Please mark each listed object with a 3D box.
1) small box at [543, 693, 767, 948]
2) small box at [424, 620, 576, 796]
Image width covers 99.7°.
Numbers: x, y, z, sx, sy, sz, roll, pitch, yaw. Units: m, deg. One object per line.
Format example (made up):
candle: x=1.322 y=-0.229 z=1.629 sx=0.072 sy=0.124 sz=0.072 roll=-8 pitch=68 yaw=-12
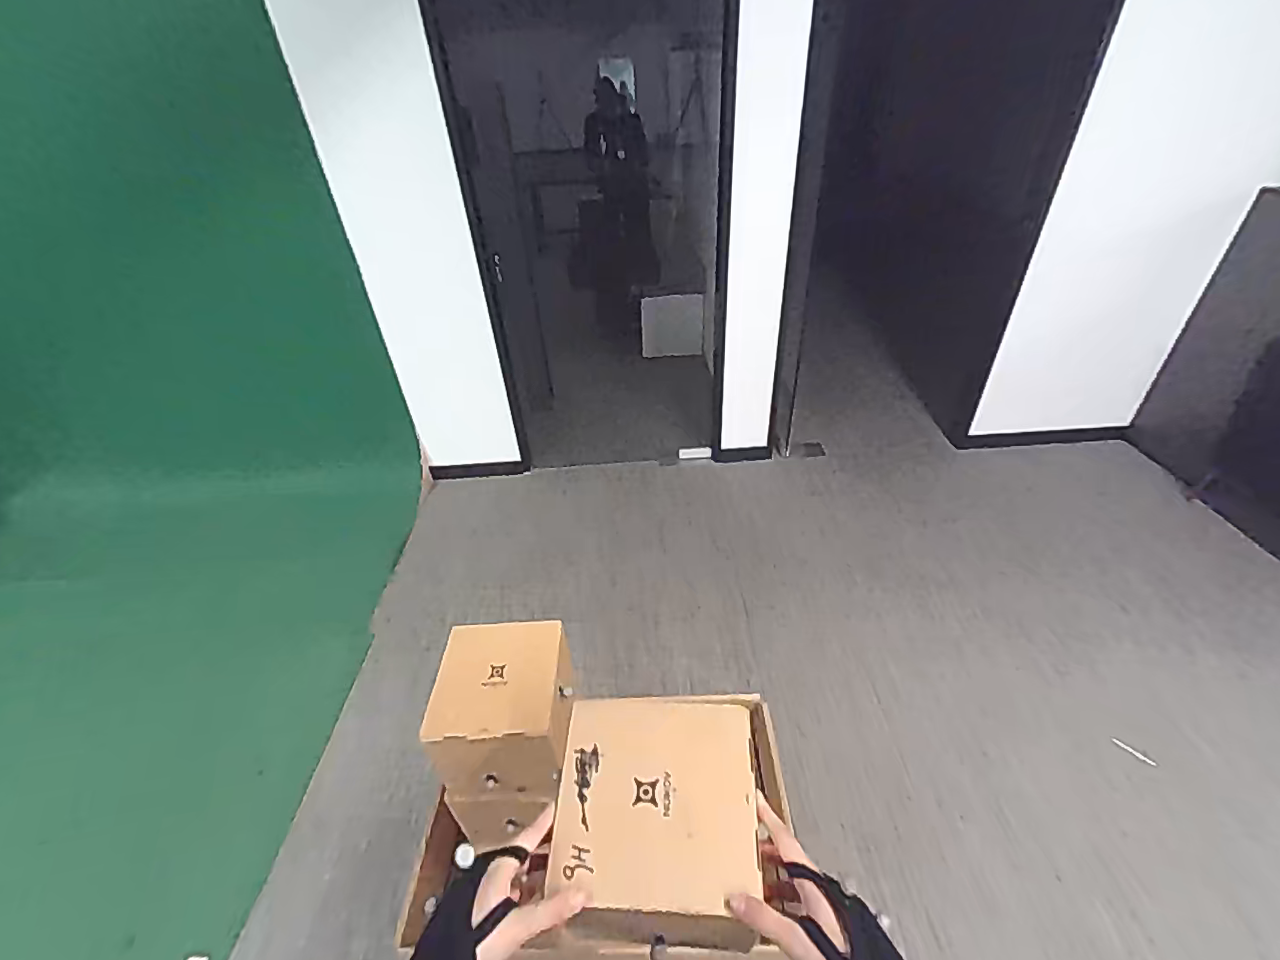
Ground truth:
small box: x=0.020 y=0.330 z=0.526 sx=0.179 sy=0.176 sz=0.168 roll=0 pitch=41 yaw=6
small box: x=-0.187 y=0.327 z=0.784 sx=0.168 sy=0.176 sz=0.179 roll=-4 pitch=37 yaw=1
